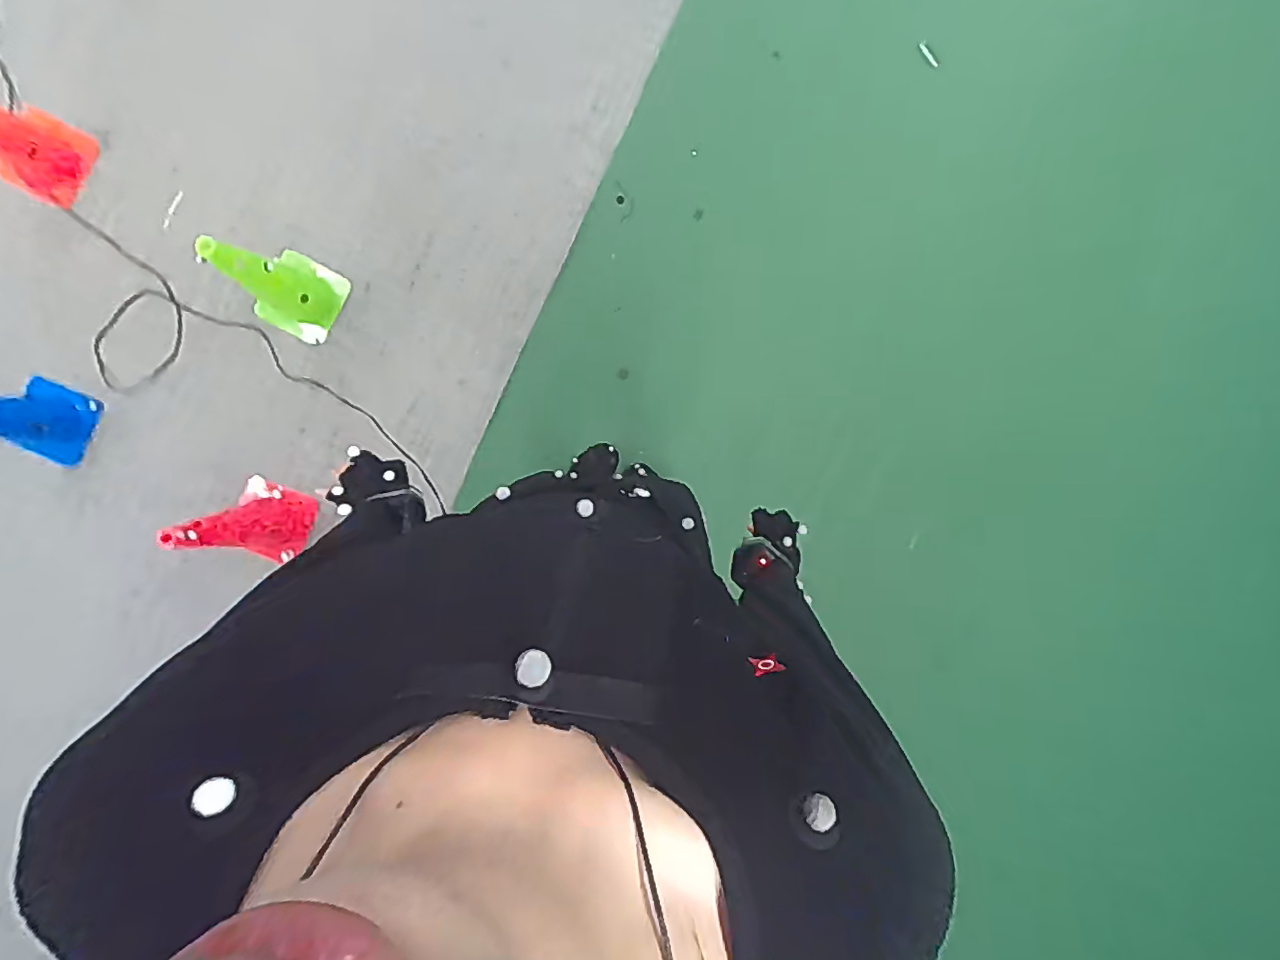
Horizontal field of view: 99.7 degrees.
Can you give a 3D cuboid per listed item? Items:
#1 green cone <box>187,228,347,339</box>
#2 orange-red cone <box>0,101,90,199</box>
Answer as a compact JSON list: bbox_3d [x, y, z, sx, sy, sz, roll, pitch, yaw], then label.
[{"bbox_3d":[-0.904,-0.499,1.277,0.202,0.368,0.200,27,90,-3],"label":"green cone"},{"bbox_3d":[-1.547,-0.846,1.235,0.199,0.360,0.198,30,91,-5],"label":"orange-red cone"}]
